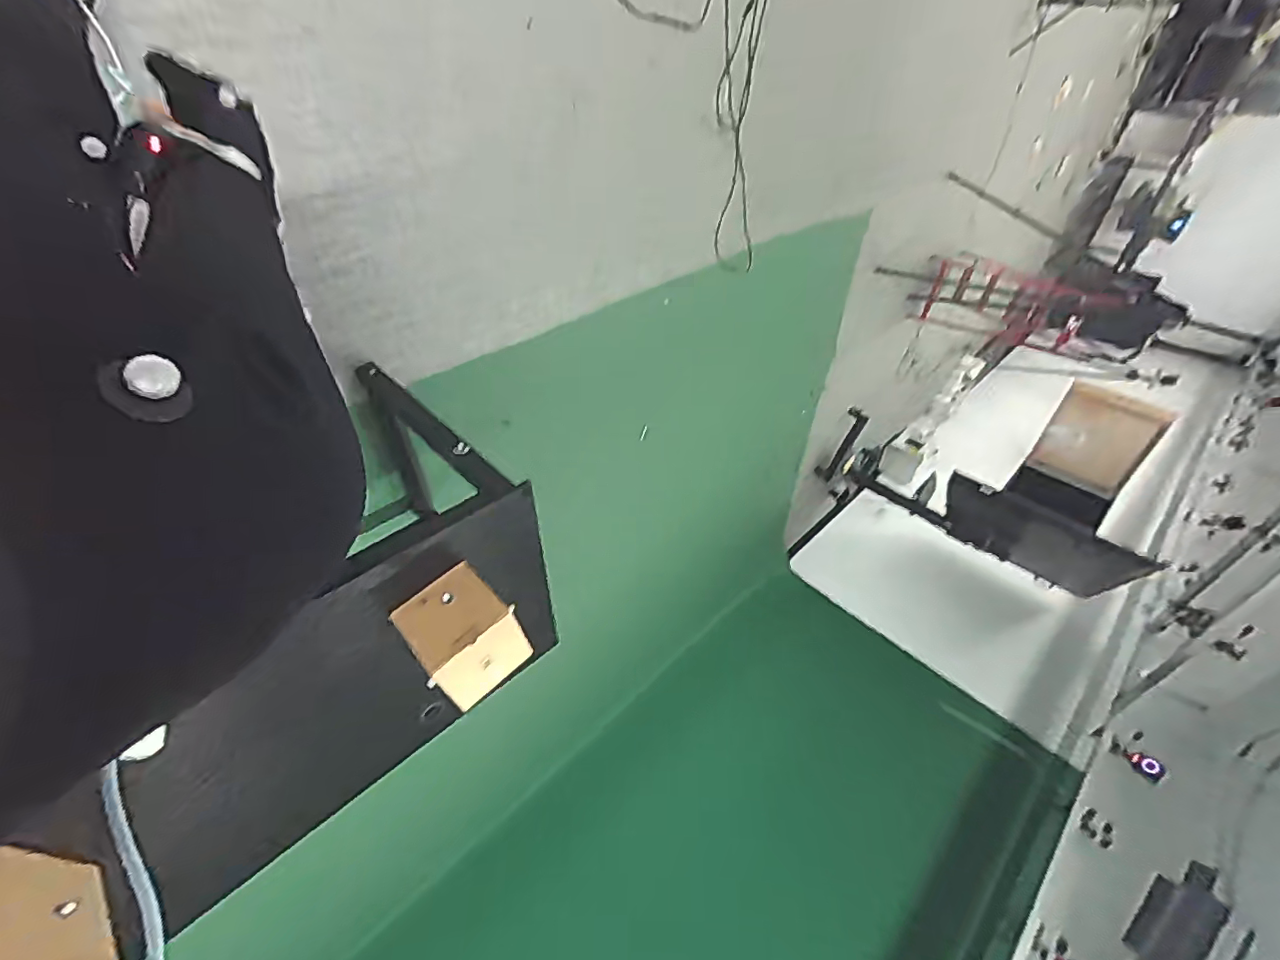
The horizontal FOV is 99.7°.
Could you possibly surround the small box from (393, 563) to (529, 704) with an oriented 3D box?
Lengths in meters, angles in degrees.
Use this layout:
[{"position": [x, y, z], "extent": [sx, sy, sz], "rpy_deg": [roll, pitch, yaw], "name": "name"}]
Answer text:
[{"position": [-0.350, 0.297, 1.069], "extent": [0.168, 0.176, 0.179], "rpy_deg": [-38, 143, -24], "name": "small box"}]
